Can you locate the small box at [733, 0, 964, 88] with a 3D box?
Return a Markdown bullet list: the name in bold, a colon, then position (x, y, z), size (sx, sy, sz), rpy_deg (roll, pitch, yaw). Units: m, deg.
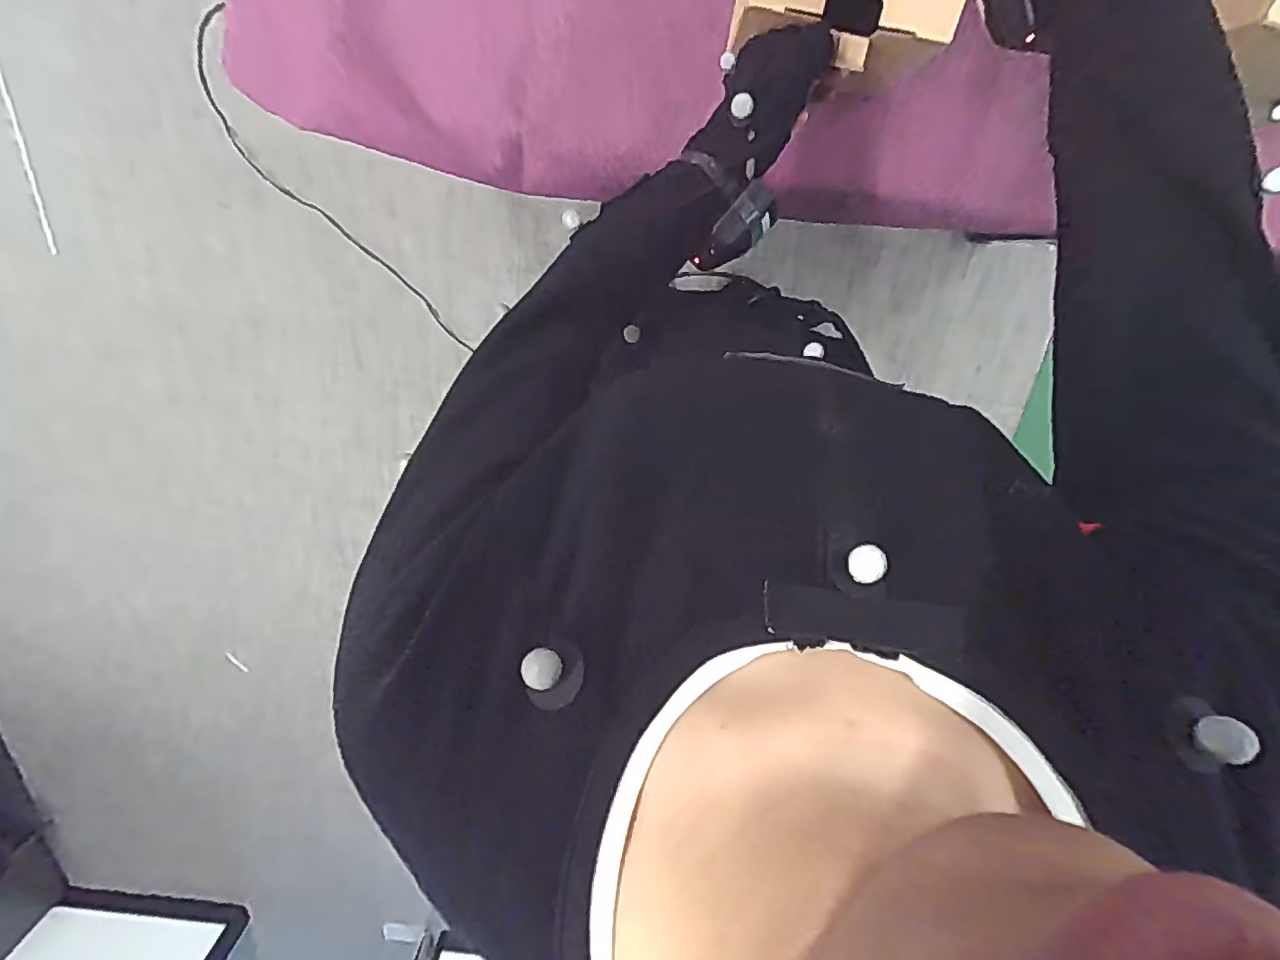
- **small box**: position (0.179, -0.459, 0.452), size (0.168, 0.176, 0.179), rpy_deg (10, 114, -1)
